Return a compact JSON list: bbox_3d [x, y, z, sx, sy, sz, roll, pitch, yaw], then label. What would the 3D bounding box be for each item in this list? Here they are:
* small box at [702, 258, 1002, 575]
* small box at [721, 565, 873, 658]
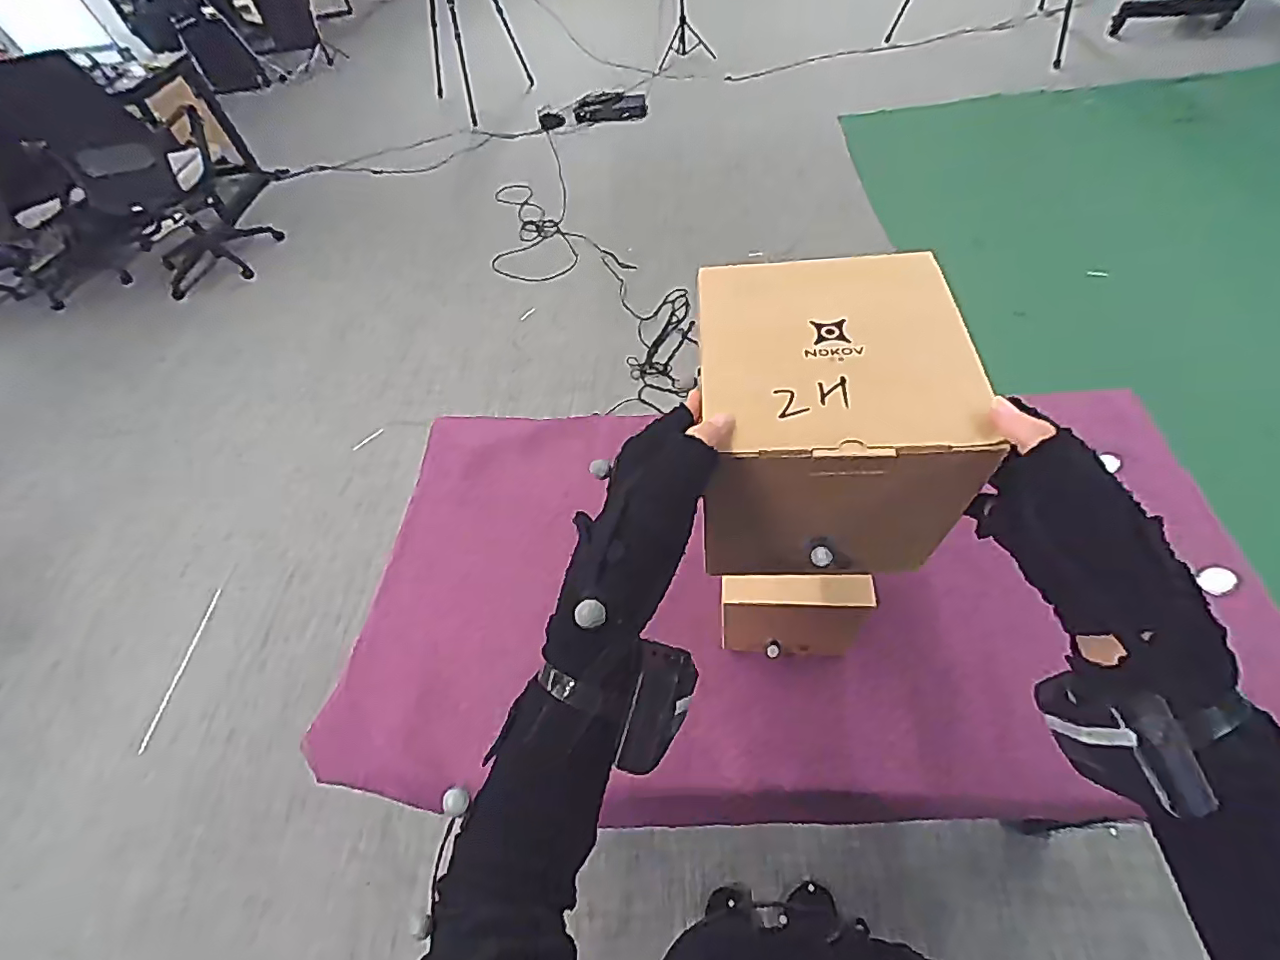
[{"bbox_3d":[0.131,-0.043,0.417,0.168,0.176,0.179,-1,56,7],"label":"small box"},{"bbox_3d":[0.191,0.114,0.708,0.168,0.176,0.179,0,54,10],"label":"small box"}]
